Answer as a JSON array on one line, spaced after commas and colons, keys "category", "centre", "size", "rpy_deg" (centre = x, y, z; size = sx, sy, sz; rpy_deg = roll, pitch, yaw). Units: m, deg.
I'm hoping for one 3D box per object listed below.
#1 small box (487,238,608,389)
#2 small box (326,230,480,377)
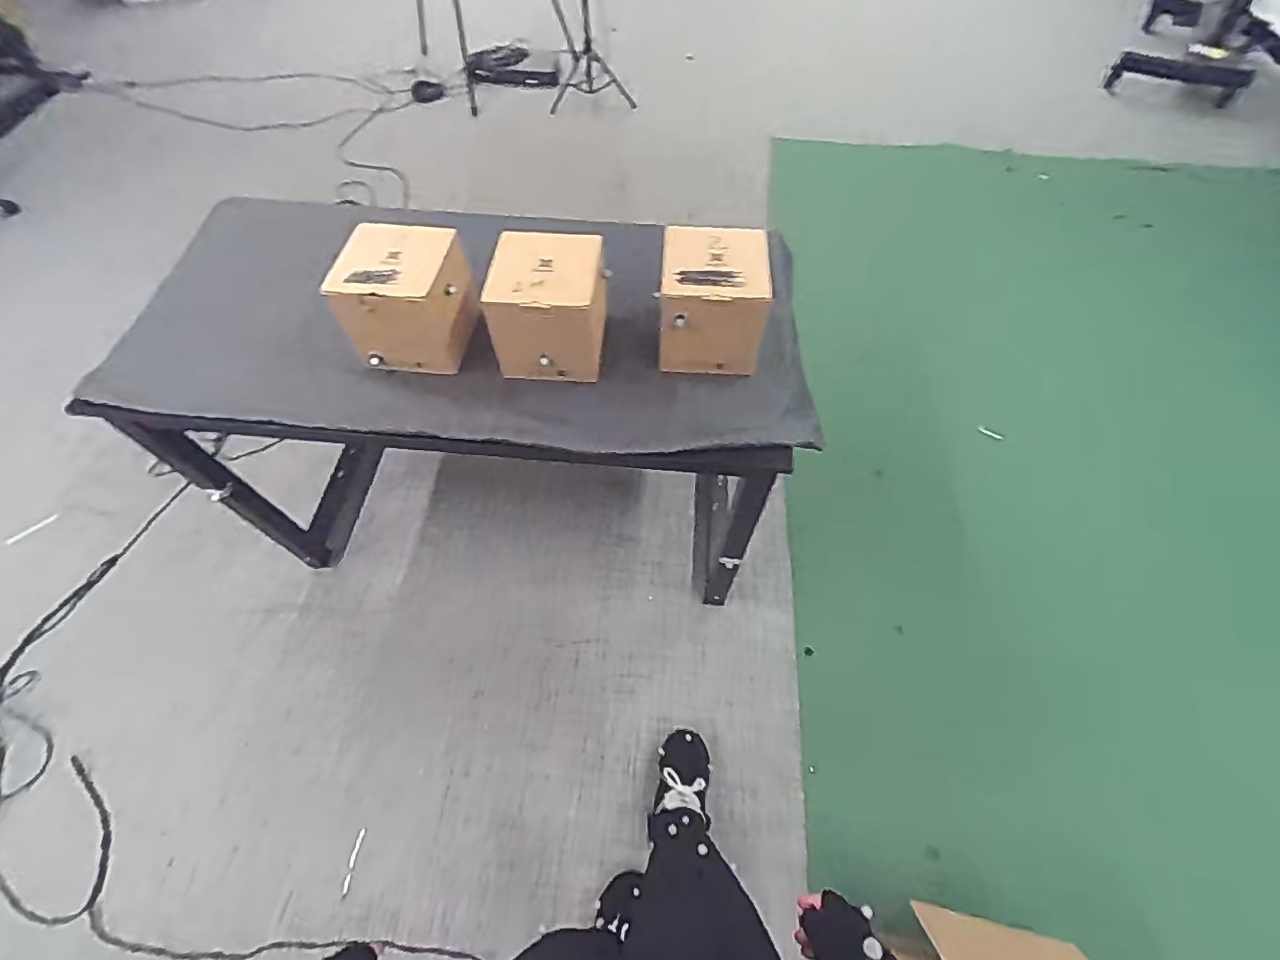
[{"category": "small box", "centre": [-0.144, -0.280, 0.915], "size": [0.168, 0.176, 0.179], "rpy_deg": [4, 58, 2]}, {"category": "small box", "centre": [-0.386, -0.296, 0.923], "size": [0.168, 0.176, 0.179], "rpy_deg": [5, 58, 2]}]
